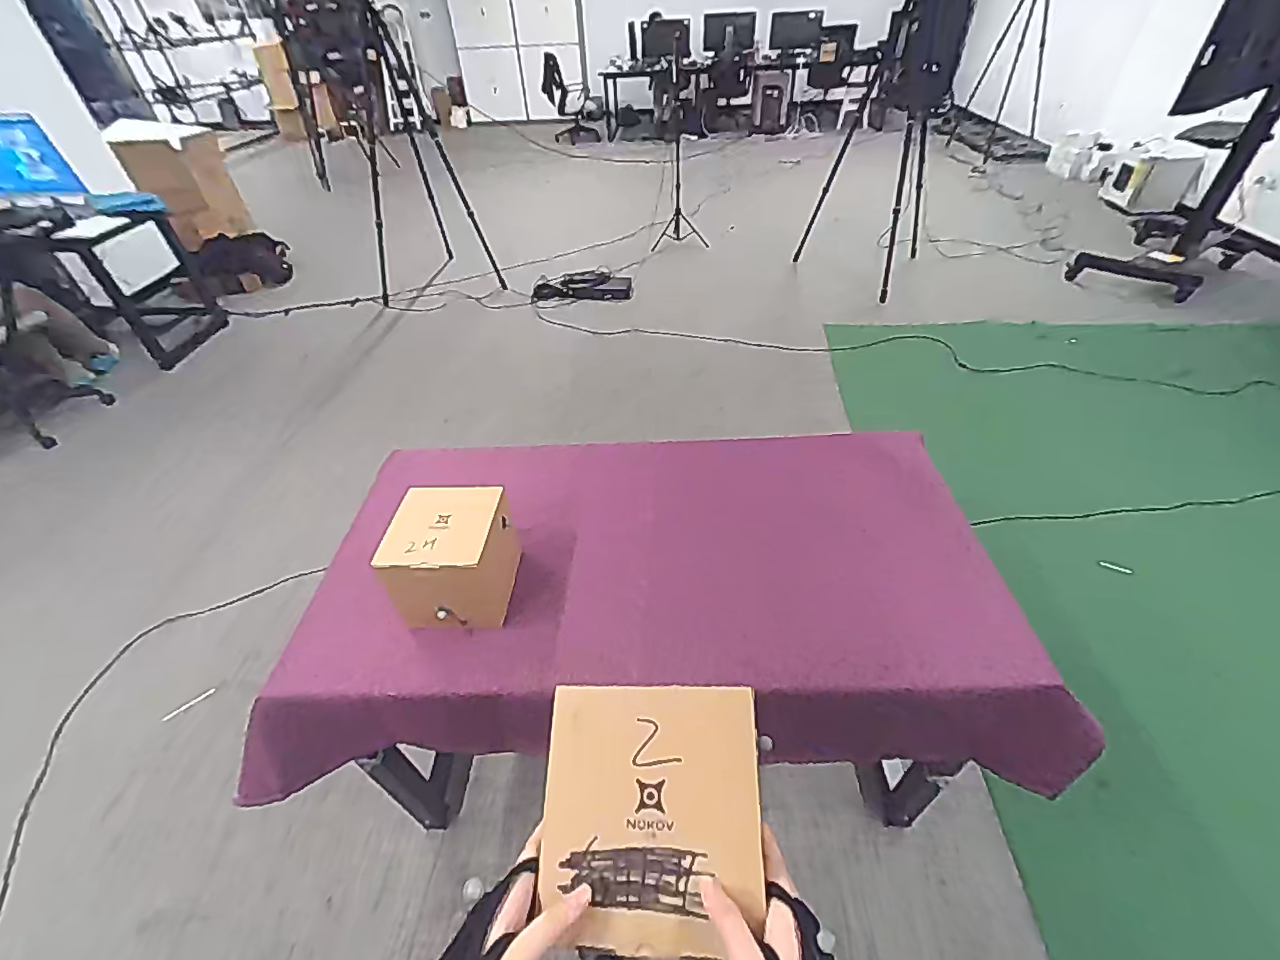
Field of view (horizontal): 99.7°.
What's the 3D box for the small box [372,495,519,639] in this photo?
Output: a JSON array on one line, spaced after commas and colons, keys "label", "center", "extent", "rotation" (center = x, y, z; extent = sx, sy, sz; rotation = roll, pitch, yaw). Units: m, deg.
[{"label": "small box", "center": [-0.311, 0.144, 0.911], "extent": [0.168, 0.176, 0.179], "rotation": [-1, 41, 4]}]
